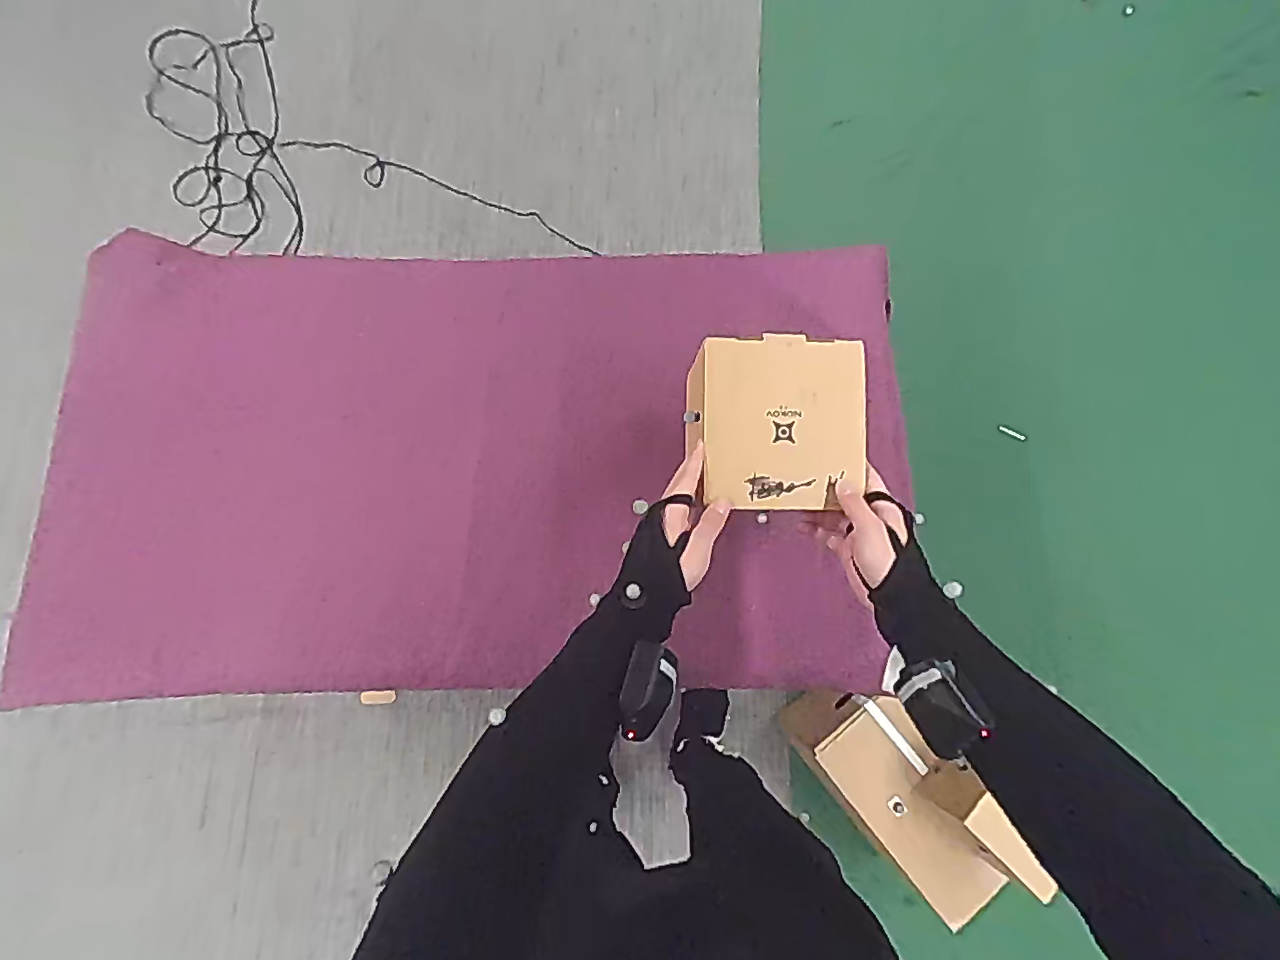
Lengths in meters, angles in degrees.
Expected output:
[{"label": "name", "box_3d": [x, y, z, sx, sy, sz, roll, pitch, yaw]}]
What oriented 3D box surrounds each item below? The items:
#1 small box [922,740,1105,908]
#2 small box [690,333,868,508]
[{"label": "small box", "box_3d": [0.659, 0.600, 0.978, 0.168, 0.176, 0.179, -44, 82, -10]}, {"label": "small box", "box_3d": [0.148, -0.057, 0.628, 0.168, 0.176, 0.179, 1, 87, -1]}]
